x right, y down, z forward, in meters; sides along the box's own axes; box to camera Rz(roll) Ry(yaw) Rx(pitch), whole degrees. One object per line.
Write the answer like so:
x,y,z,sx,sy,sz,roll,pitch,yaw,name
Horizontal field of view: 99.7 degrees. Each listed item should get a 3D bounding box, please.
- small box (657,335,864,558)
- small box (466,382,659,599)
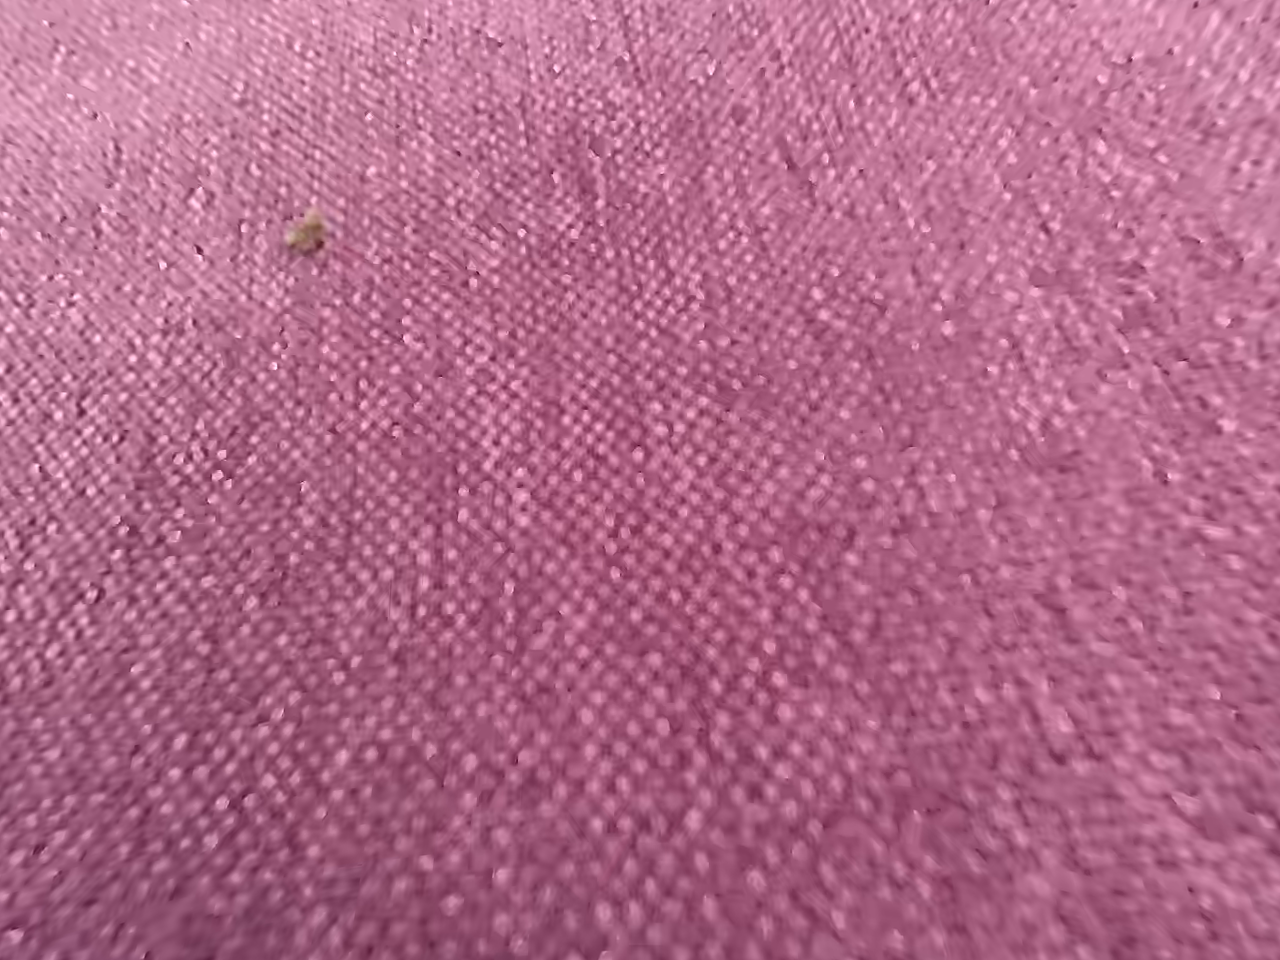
0.121,-0.027,0.608,0.168,0.176,0.179,-15,69,2,small box
-0.079,0.021,0.612,0.168,0.176,0.179,-15,69,1,small box
